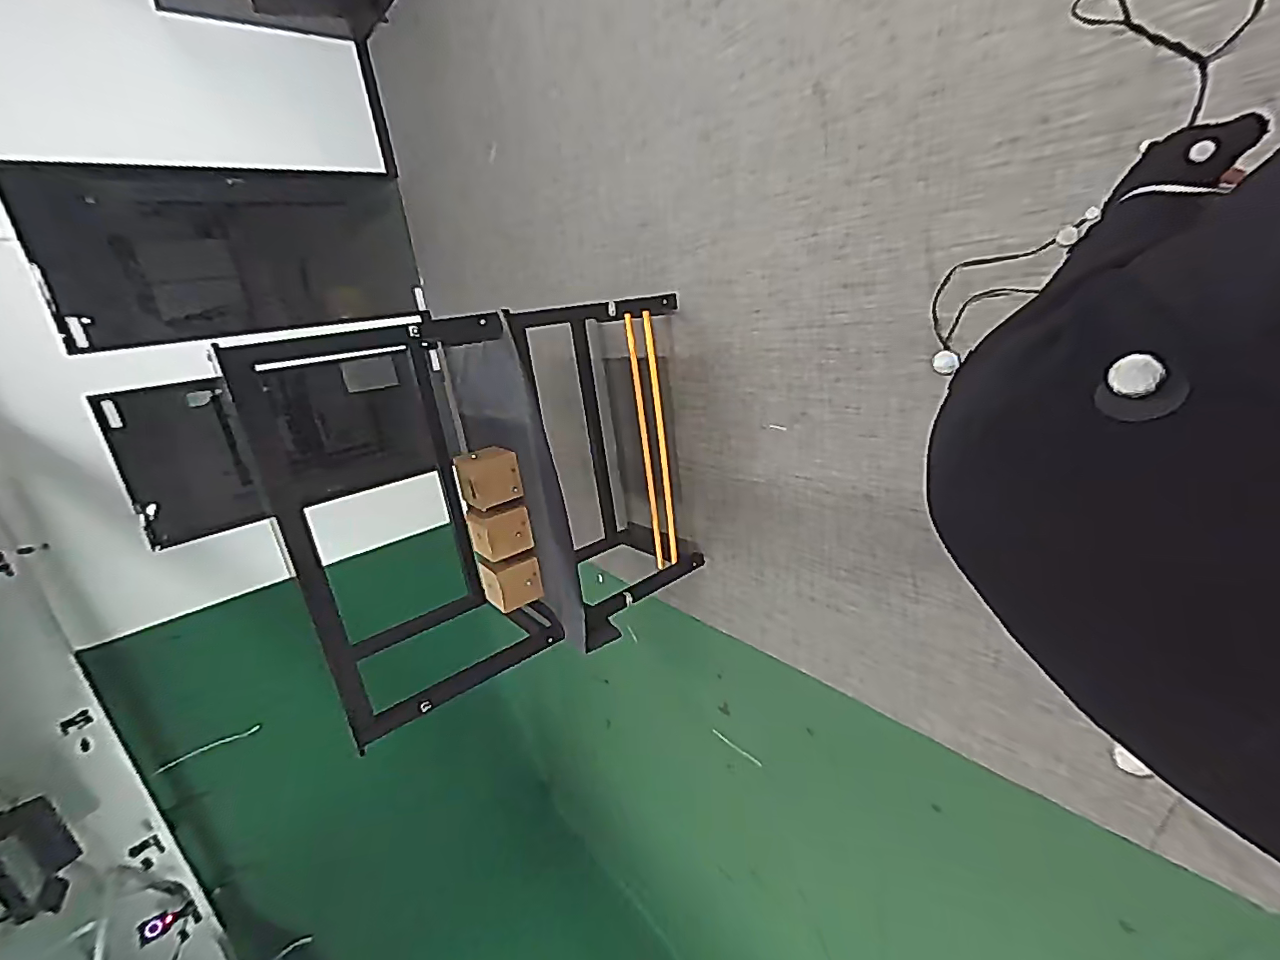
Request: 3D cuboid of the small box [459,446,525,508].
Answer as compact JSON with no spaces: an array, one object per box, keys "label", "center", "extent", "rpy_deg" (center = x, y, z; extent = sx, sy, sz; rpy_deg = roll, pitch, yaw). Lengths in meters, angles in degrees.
[{"label":"small box","center":[-0.526,-0.017,1.945],"extent":[0.179,0.176,0.168],"rpy_deg":[16,119,51]}]
